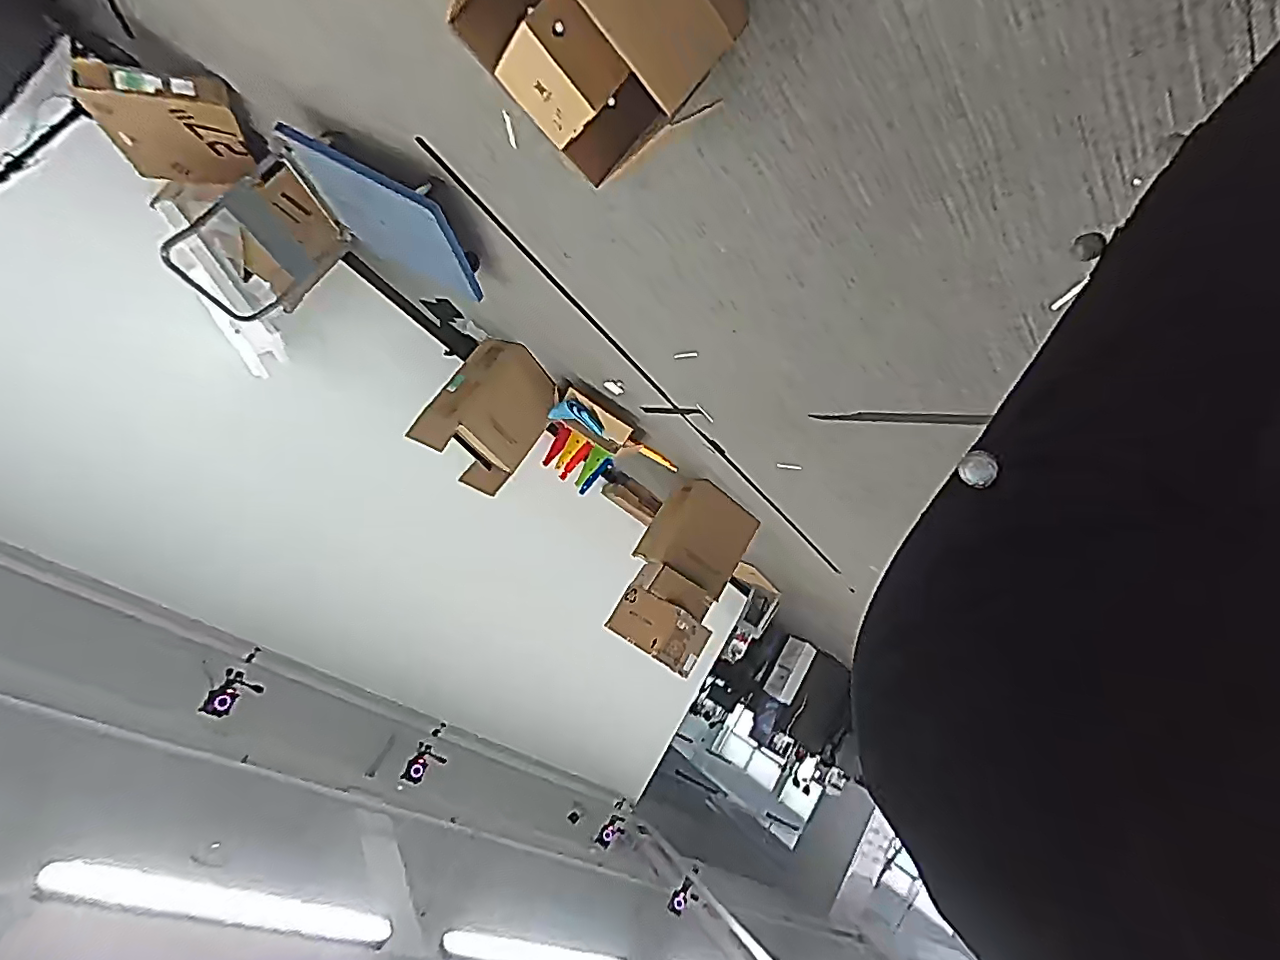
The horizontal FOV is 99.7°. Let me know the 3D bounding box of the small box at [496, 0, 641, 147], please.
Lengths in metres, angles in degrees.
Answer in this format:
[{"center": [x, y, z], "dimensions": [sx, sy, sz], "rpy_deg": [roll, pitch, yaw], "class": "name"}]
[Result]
[{"center": [-0.133, -0.790, 1.022], "dimensions": [0.179, 0.176, 0.168], "rpy_deg": [40, 165, -29], "class": "small box"}]
